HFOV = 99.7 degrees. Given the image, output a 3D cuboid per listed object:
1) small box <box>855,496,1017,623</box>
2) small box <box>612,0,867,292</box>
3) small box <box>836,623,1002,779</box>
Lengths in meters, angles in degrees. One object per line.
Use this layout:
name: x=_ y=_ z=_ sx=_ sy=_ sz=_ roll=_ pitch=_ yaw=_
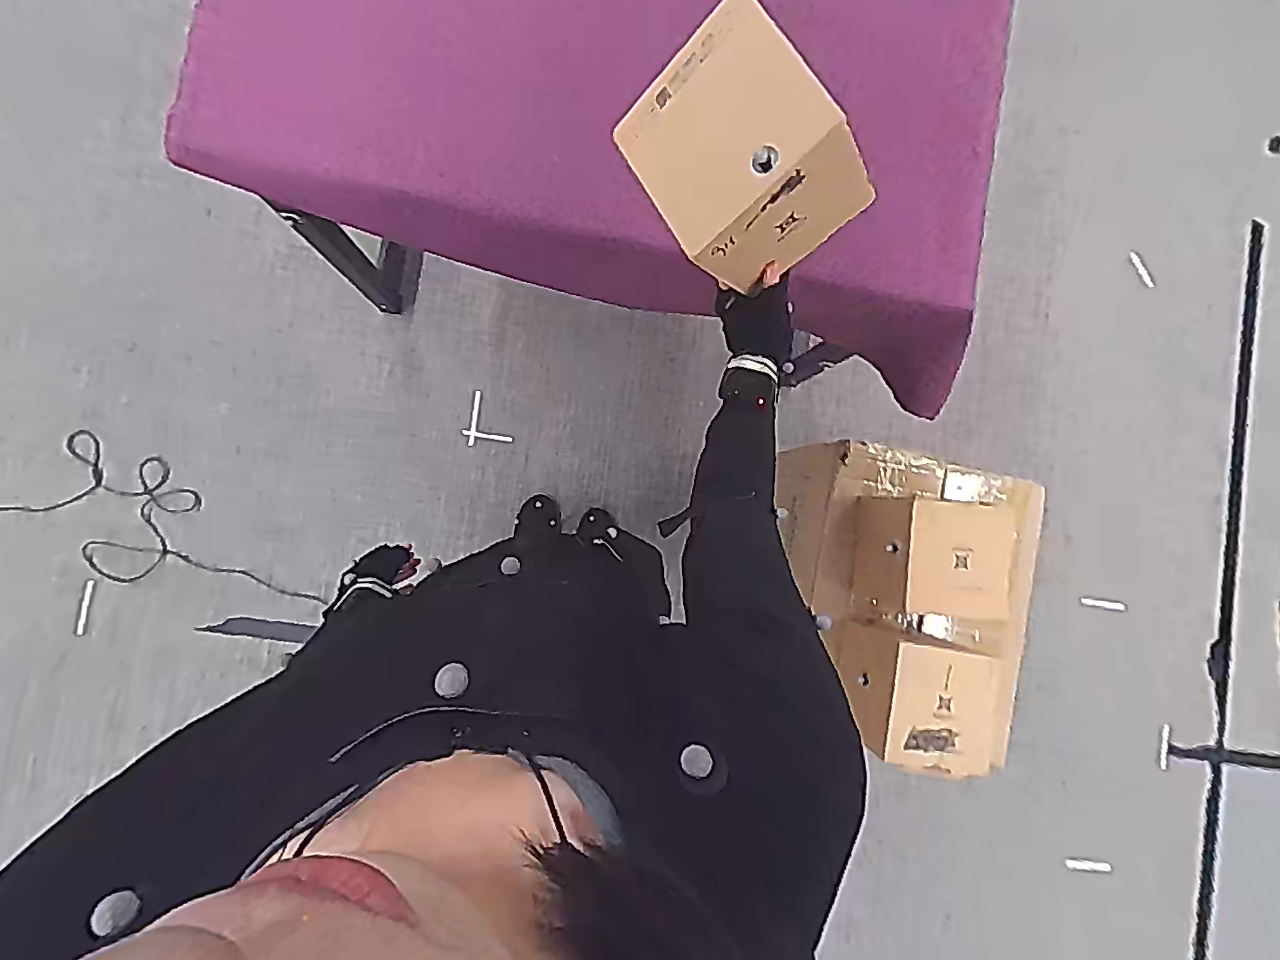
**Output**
small box: x=0.470 y=0.121 z=0.881 sx=0.168 sy=0.176 sz=0.179 roll=6 pitch=88 yaw=-5
small box: x=0.105 y=-0.331 z=0.561 sx=0.168 sy=0.179 sz=0.176 roll=-37 pitch=75 yaw=28
small box: x=0.433 y=0.342 z=0.864 sx=0.168 sy=0.176 sz=0.179 roll=11 pitch=84 yaw=-5
